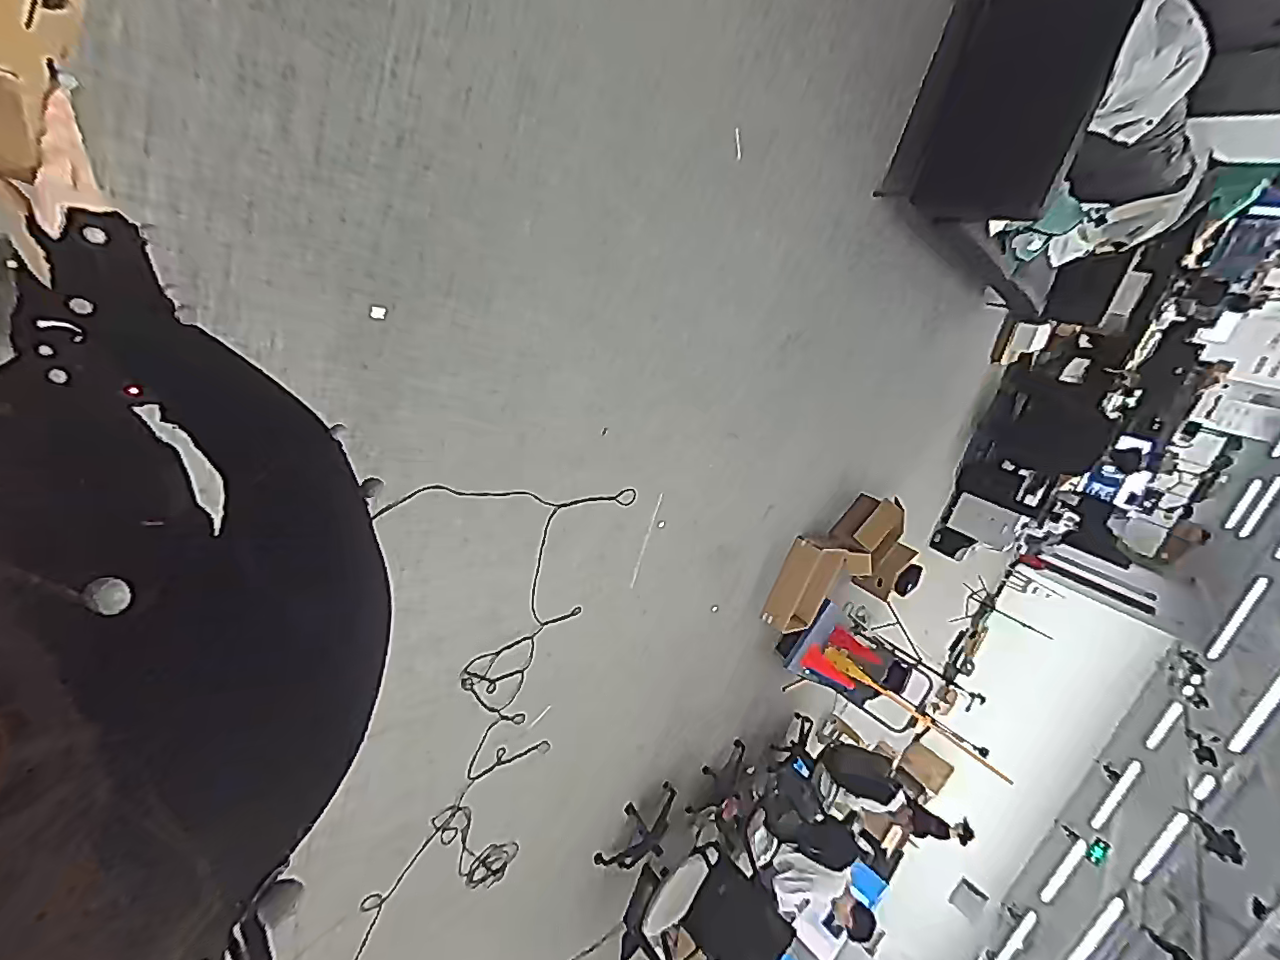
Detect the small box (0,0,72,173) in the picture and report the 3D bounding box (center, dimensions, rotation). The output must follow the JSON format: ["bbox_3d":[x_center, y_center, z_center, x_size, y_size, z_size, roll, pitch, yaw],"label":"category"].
[{"bbox_3d":[-0.471,-0.320,0.314,0.179,0.176,0.168,11,82,-46],"label":"small box"}]
